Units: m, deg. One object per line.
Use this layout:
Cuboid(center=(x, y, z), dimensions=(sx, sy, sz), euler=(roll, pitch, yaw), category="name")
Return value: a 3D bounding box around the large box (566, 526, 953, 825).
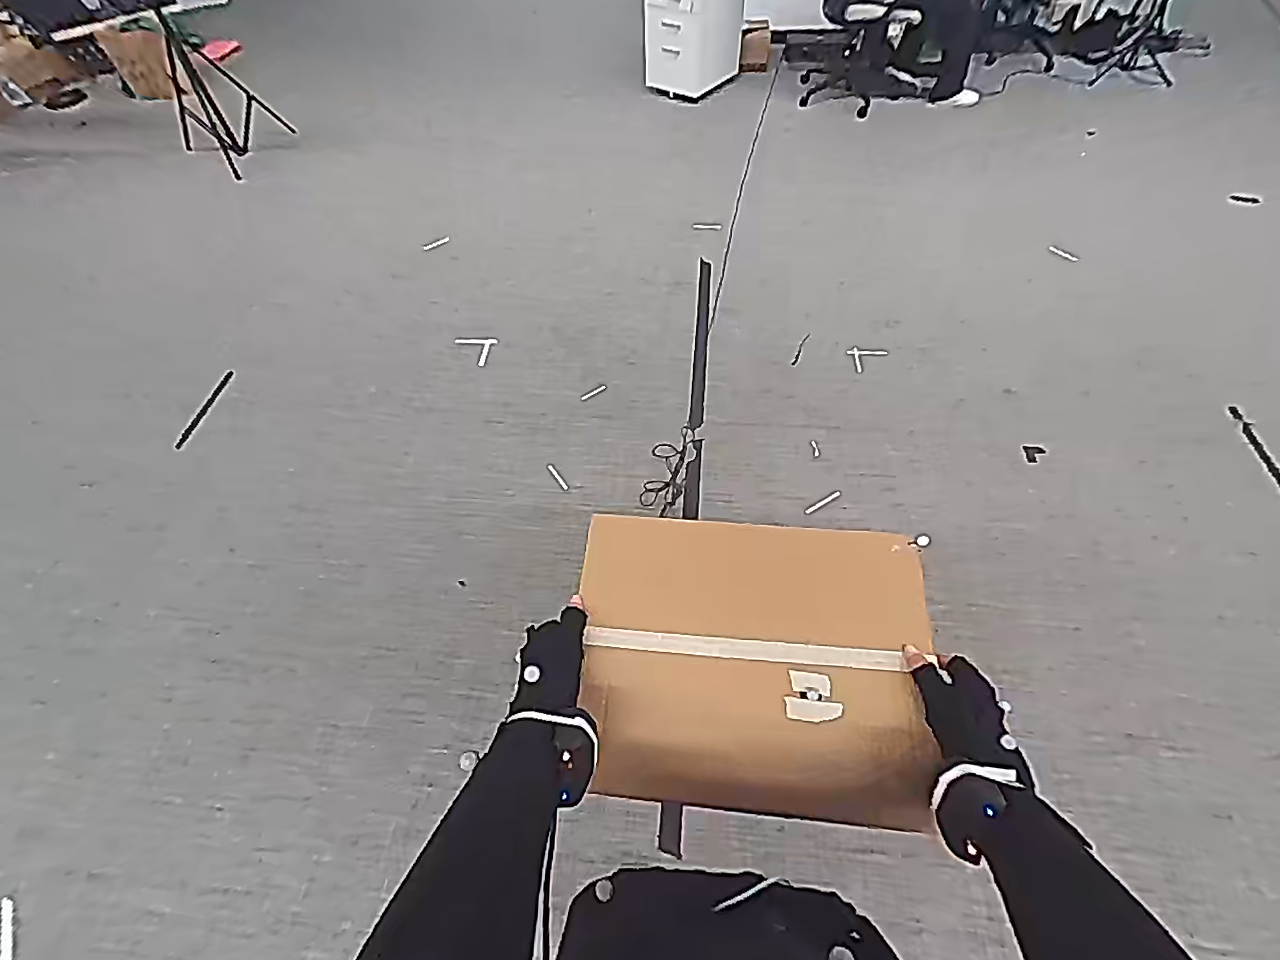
Cuboid(center=(0.135, 0.277, 0.756), dimensions=(0.408, 0.320, 0.320), euler=(4, 61, 5), category="large box")
